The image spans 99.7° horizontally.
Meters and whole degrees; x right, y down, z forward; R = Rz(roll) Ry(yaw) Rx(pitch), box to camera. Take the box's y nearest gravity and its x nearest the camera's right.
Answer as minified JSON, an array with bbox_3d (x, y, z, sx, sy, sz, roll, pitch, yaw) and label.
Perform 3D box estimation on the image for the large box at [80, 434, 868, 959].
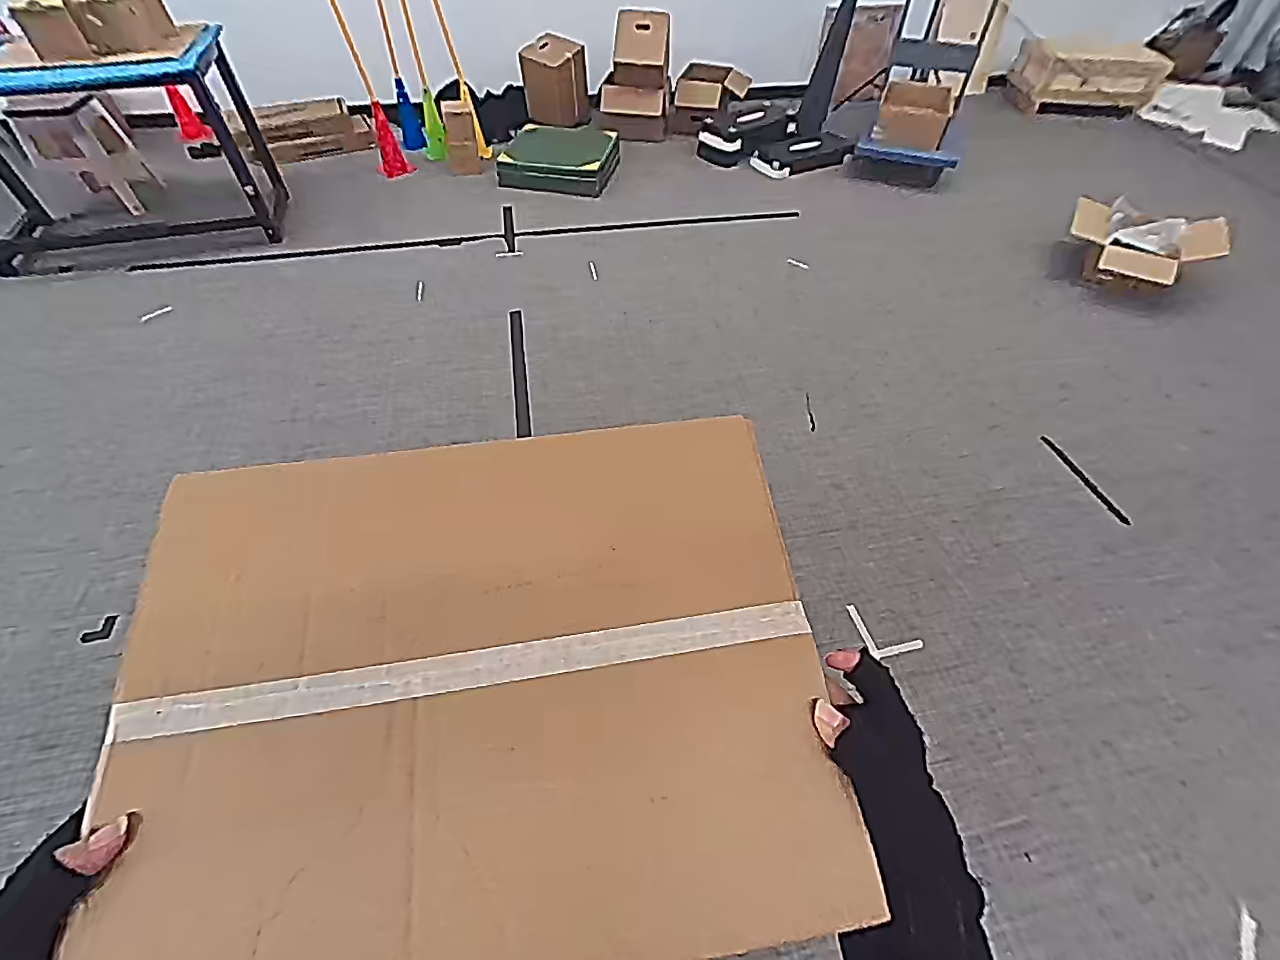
[{"bbox_3d":[-0.100,0.189,0.463,0.408,0.320,0.320,-7,64,-6],"label":"large box"}]
